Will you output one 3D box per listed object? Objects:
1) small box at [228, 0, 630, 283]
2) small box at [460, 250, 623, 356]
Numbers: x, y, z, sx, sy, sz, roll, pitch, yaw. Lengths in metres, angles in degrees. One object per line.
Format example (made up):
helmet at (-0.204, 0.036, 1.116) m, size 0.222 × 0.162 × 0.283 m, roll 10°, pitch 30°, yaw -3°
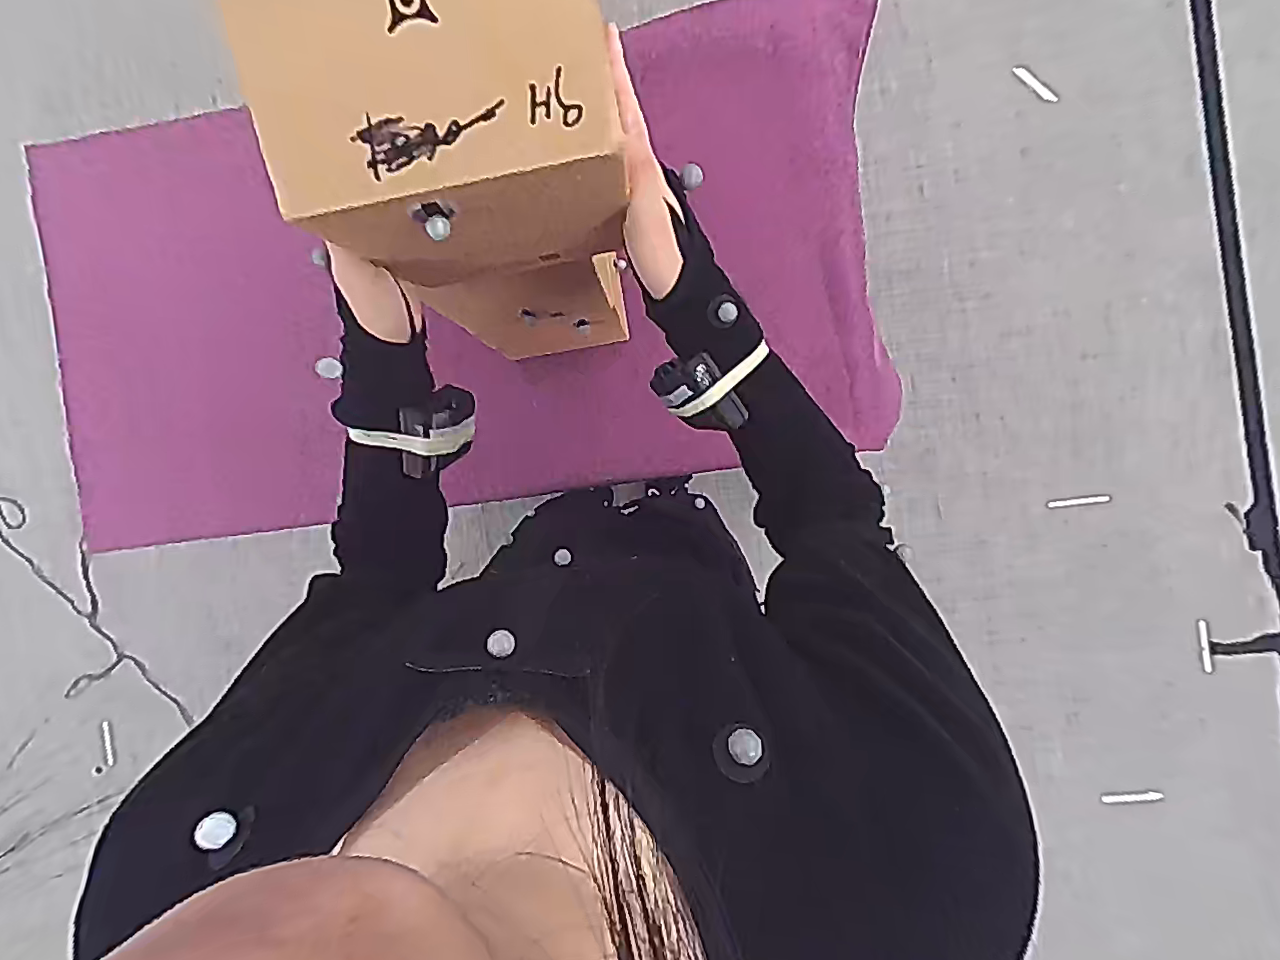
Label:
small box at (-0.100, -0.234, 0.316) m, size 0.168 × 0.176 × 0.179 m, roll -10°, pitch 98°, yaw 2°
small box at (-0.119, -0.266, 0.692) m, size 0.179 × 0.176 × 0.168 m, roll -9°, pitch 90°, yaw 5°
